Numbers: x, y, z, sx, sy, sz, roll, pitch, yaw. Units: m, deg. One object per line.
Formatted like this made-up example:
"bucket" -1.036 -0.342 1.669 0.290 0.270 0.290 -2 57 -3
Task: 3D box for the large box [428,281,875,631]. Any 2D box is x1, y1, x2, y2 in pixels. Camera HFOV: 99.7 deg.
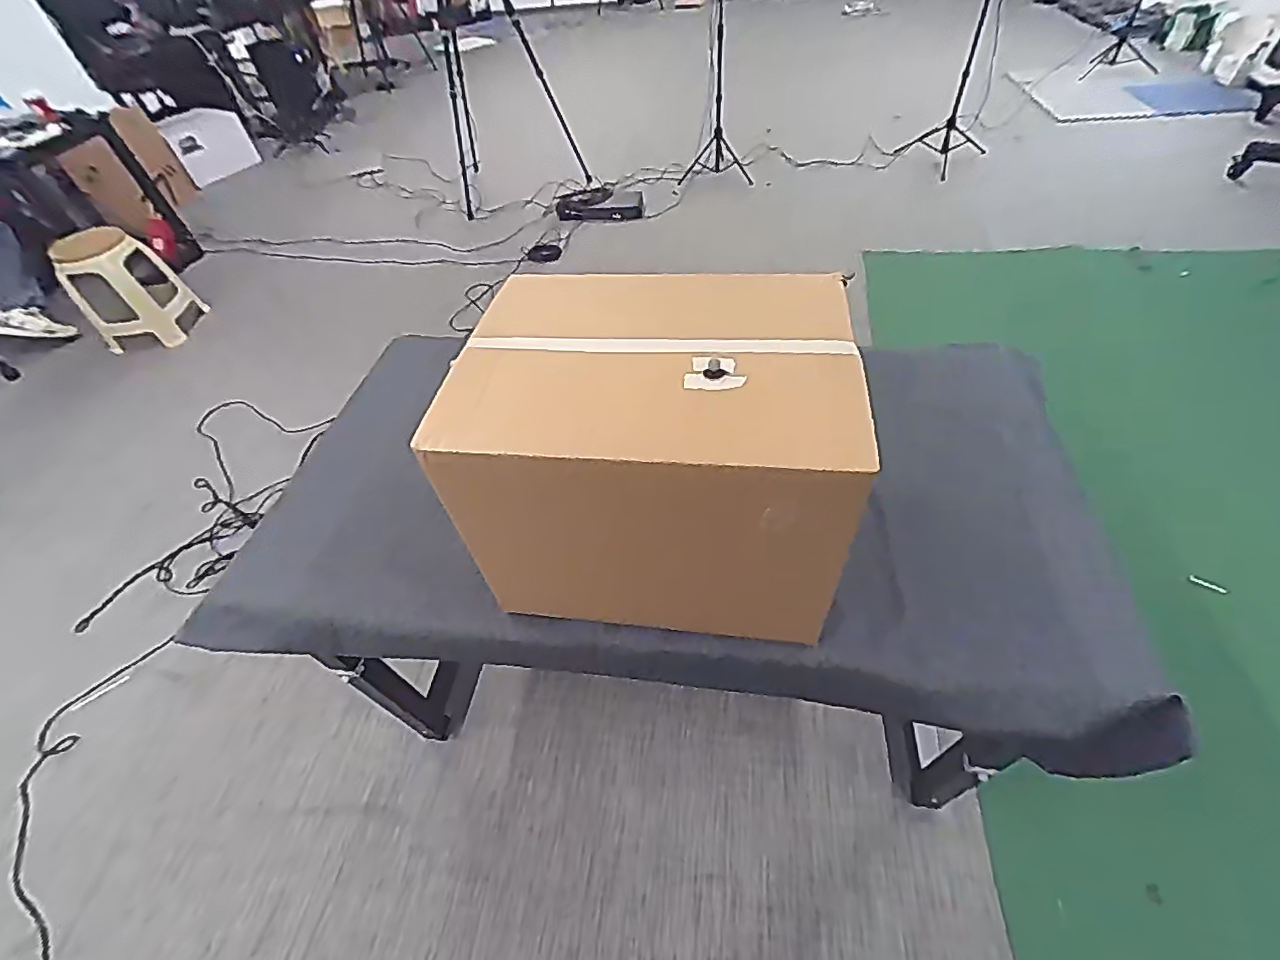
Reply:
"large box" 0.026 -0.033 0.676 0.408 0.320 0.320 4 49 8
